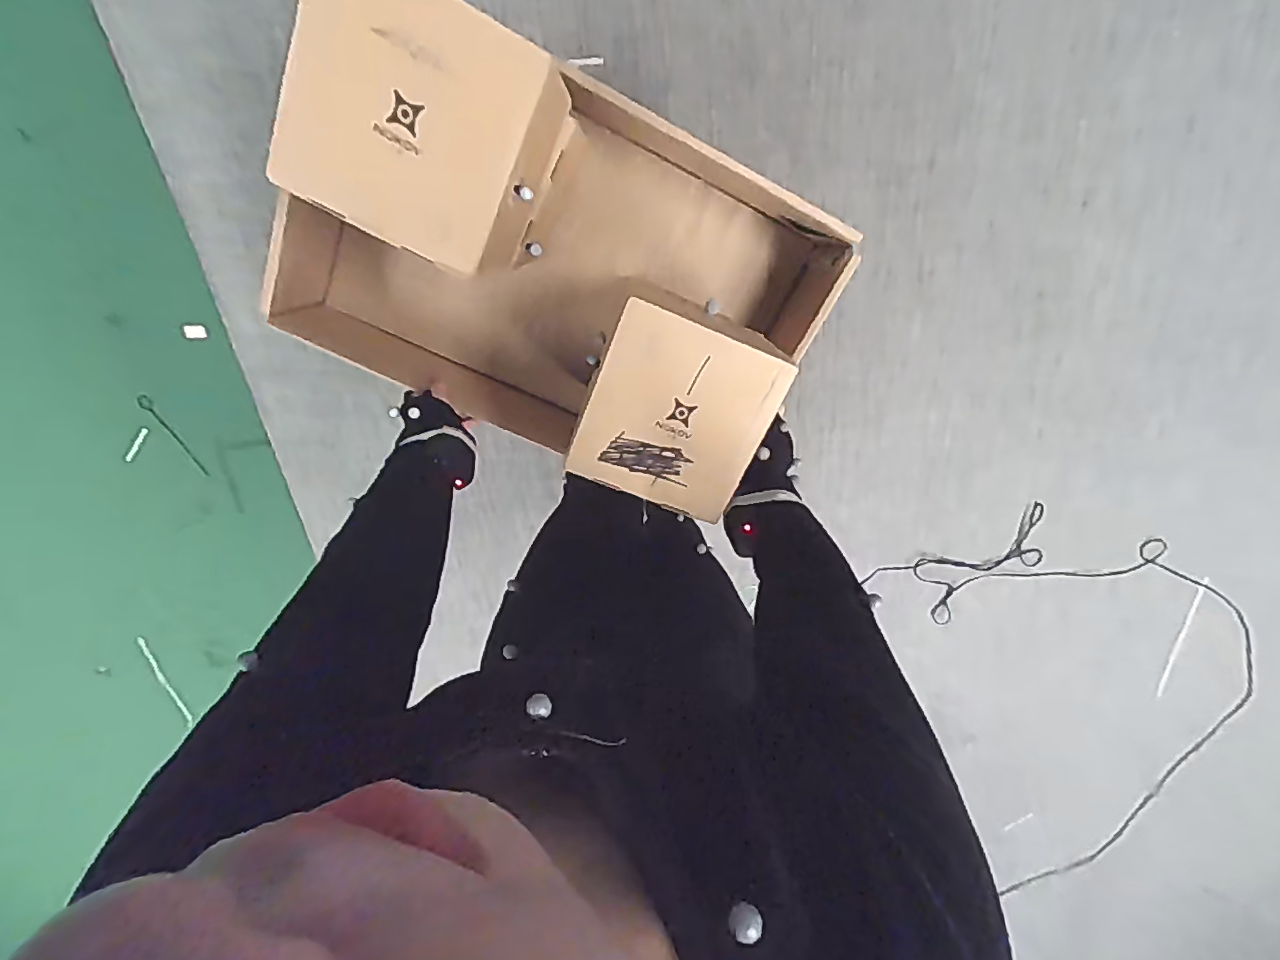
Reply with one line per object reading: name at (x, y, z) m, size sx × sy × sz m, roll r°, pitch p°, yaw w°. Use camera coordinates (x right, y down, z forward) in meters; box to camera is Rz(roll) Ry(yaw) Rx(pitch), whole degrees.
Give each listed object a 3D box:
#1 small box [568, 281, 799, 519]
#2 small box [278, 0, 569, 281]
small box at (0.037, -0.092, 0.575) m, size 0.168 × 0.176 × 0.179 m, roll 20°, pitch 113°, yaw -10°
small box at (-0.170, -0.302, 0.473) m, size 0.168 × 0.176 × 0.179 m, roll 25°, pitch 112°, yaw -14°
